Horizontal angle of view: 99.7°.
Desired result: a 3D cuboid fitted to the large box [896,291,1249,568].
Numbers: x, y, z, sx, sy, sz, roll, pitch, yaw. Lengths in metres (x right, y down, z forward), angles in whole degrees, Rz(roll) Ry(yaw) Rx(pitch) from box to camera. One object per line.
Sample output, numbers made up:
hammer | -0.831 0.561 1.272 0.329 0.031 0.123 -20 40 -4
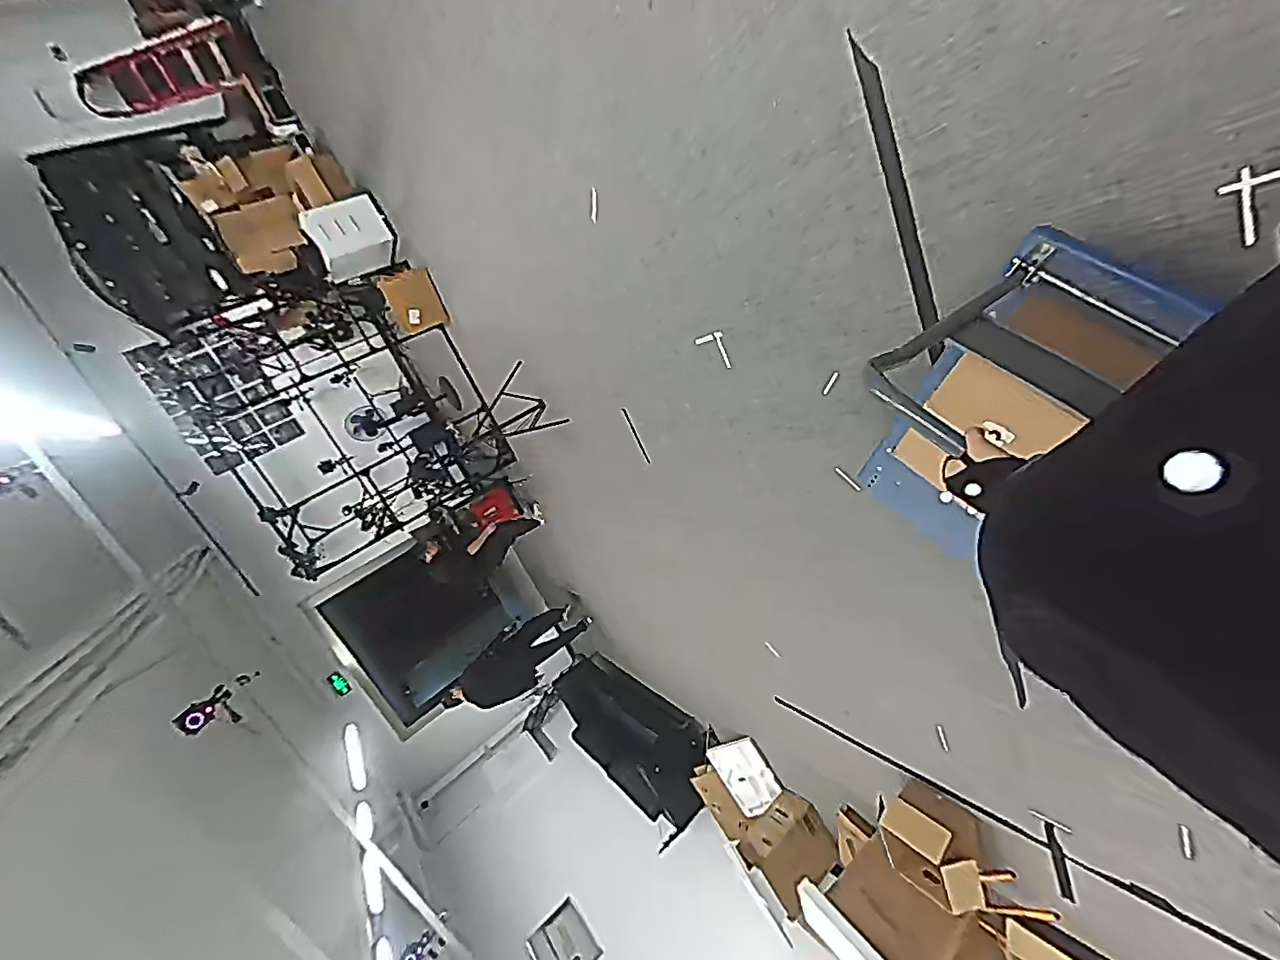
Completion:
large box | 0.836 -0.107 1.097 0.408 0.320 0.320 45 153 23
